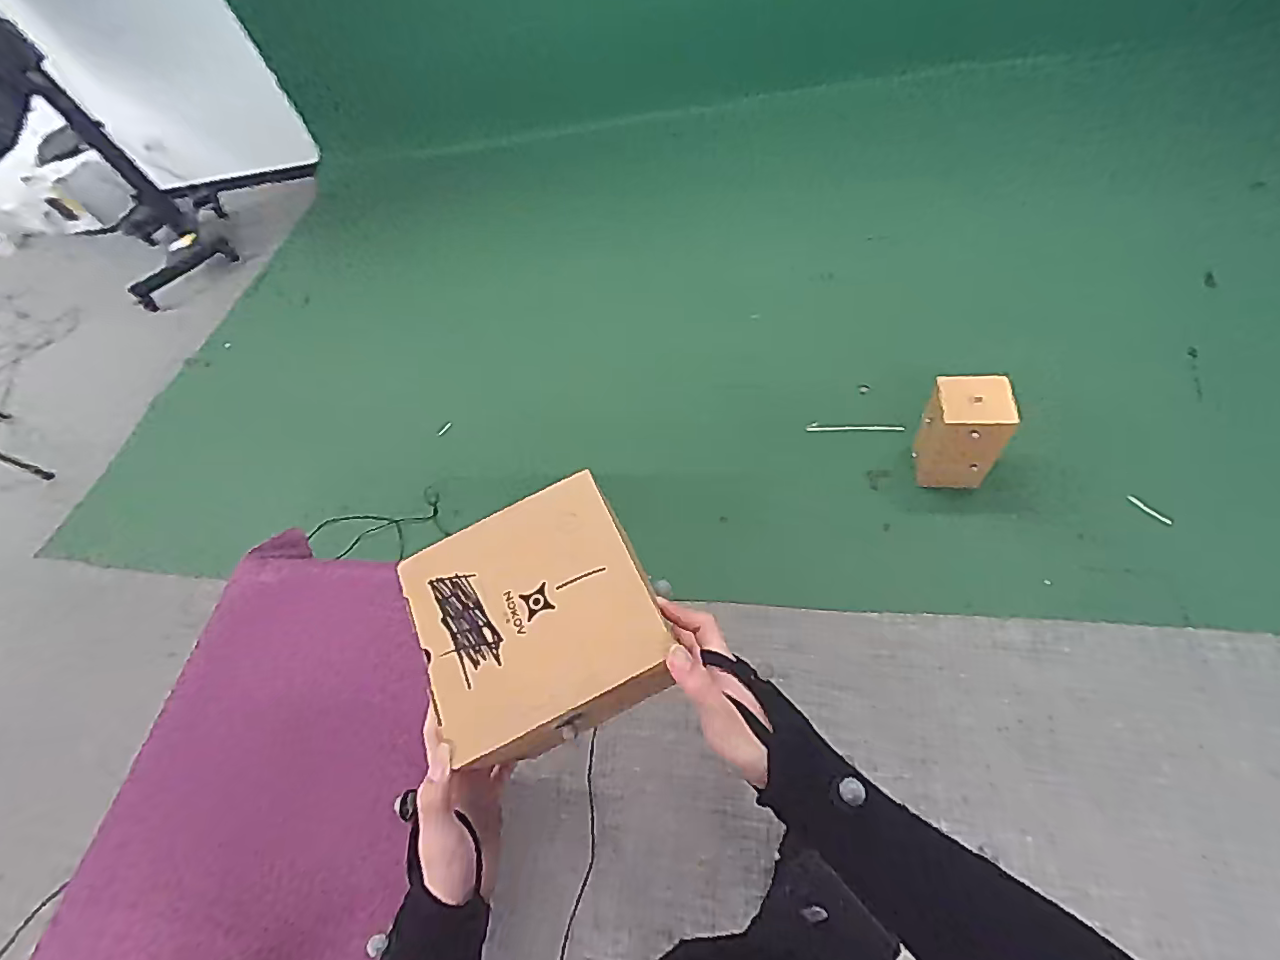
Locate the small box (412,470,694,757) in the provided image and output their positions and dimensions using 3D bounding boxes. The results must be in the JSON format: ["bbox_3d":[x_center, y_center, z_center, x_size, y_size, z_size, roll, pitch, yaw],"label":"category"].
[{"bbox_3d":[-0.065,0.126,0.481,0.179,0.176,0.168,-26,64,-3],"label":"small box"}]

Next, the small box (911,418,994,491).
[{"bbox_3d":[0.949,-0.076,1.656,0.179,0.176,0.168,2,58,14],"label":"small box"}]

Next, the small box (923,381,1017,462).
[{"bbox_3d":[0.918,-0.161,1.521,0.179,0.176,0.168,1,58,15],"label":"small box"}]
